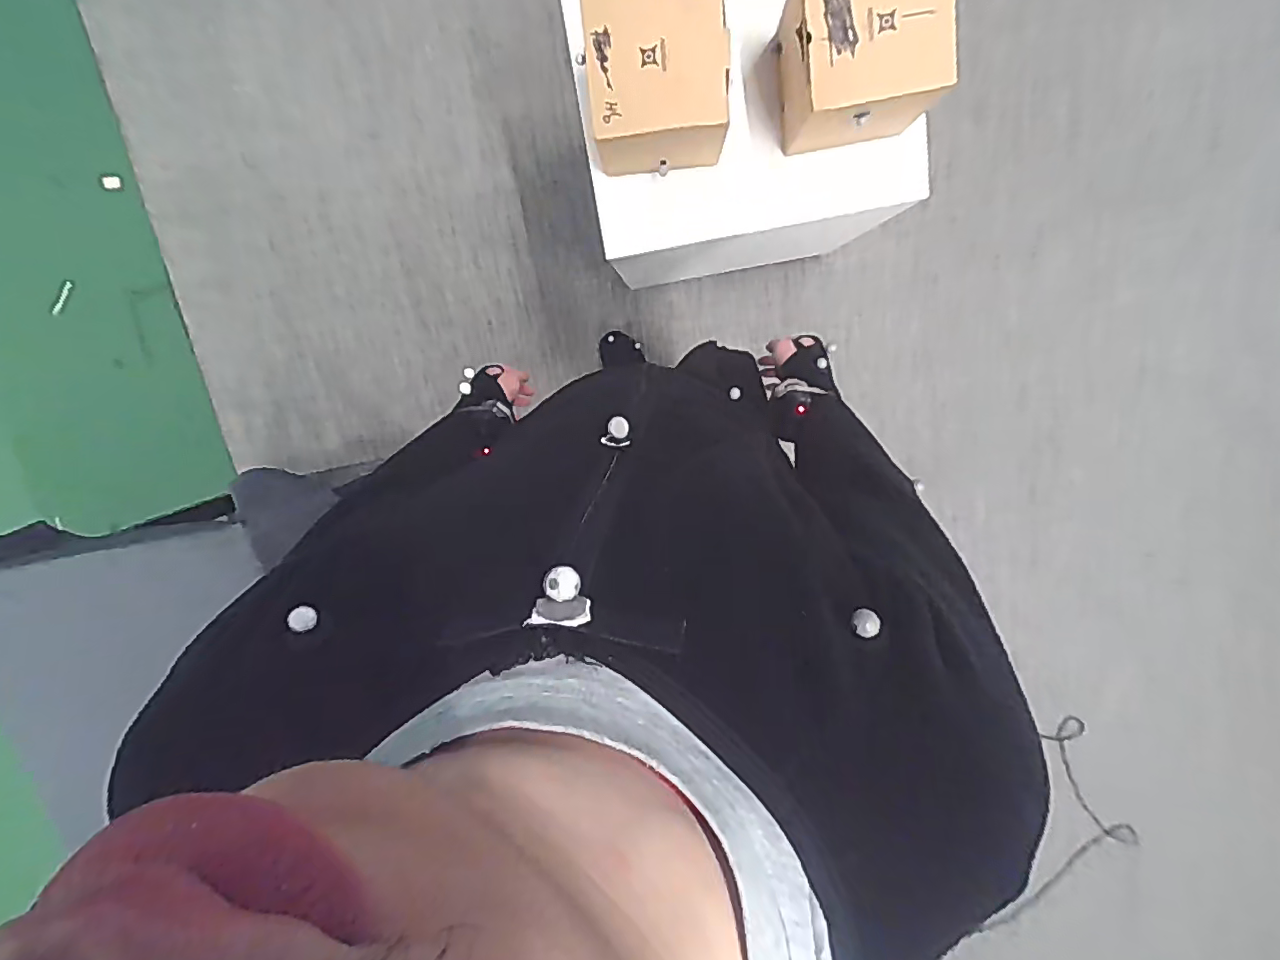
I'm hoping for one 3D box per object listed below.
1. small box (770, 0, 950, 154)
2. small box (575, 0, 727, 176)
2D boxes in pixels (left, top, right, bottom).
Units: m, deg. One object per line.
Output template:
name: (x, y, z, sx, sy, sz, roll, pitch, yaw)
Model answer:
small box: (0.278, -0.559, 0.717, 0.179, 0.176, 0.168, -9, 104, 2)
small box: (0.012, -0.527, 0.725, 0.179, 0.176, 0.168, -5, 102, 0)
